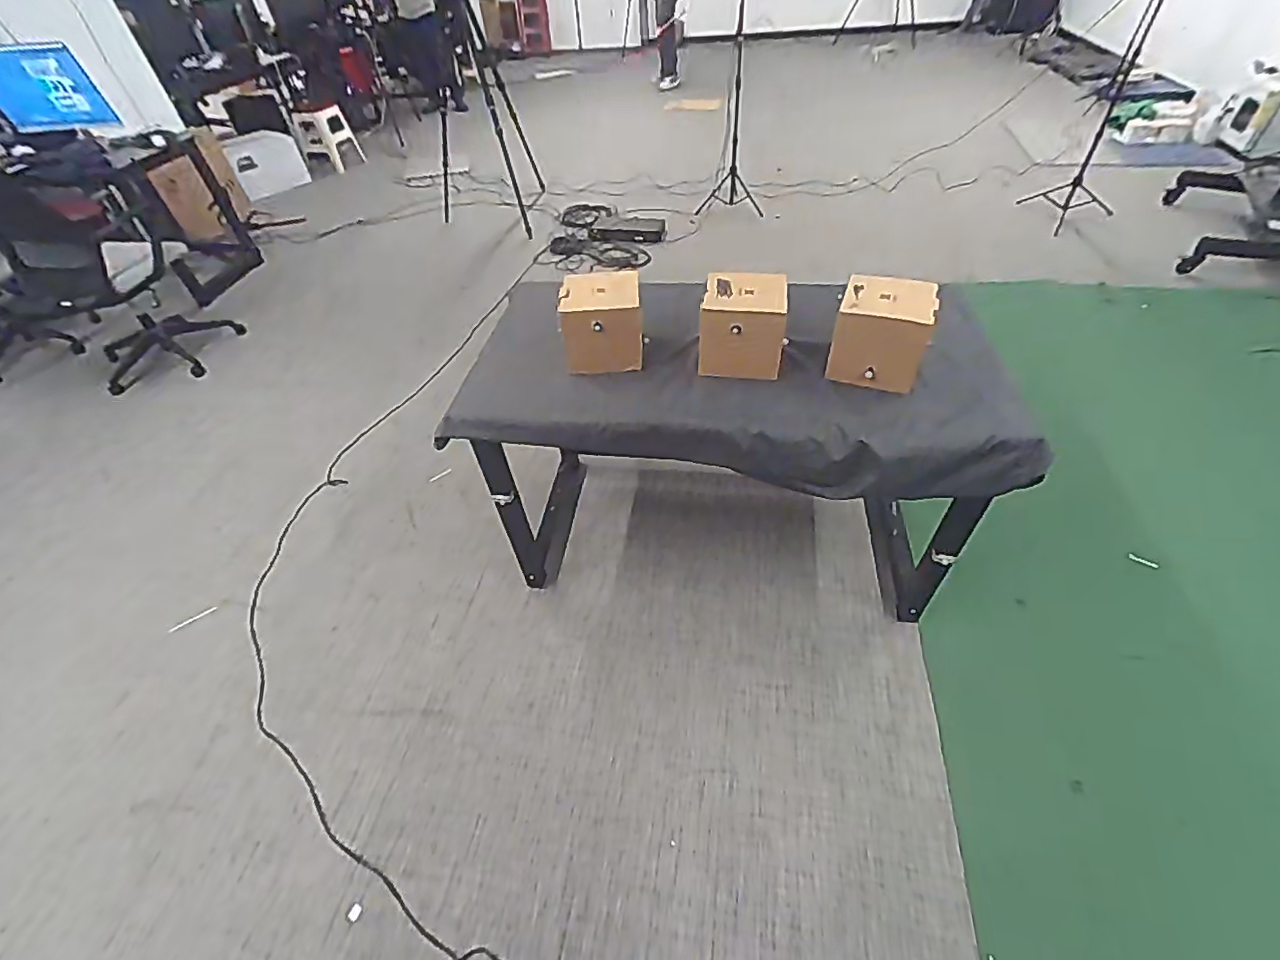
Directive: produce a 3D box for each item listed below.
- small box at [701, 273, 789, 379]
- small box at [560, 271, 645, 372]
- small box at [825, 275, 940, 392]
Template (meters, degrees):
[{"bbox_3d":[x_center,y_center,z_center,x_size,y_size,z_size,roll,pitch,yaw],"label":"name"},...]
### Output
[{"bbox_3d":[0.232,-0.343,1.209,0.179,0.176,0.168,7,48,9],"label":"small box"},{"bbox_3d":[-0.080,-0.365,1.258,0.179,0.176,0.168,-2,48,1],"label":"small box"},{"bbox_3d":[0.513,-0.309,1.154,0.179,0.176,0.168,16,50,18],"label":"small box"}]
